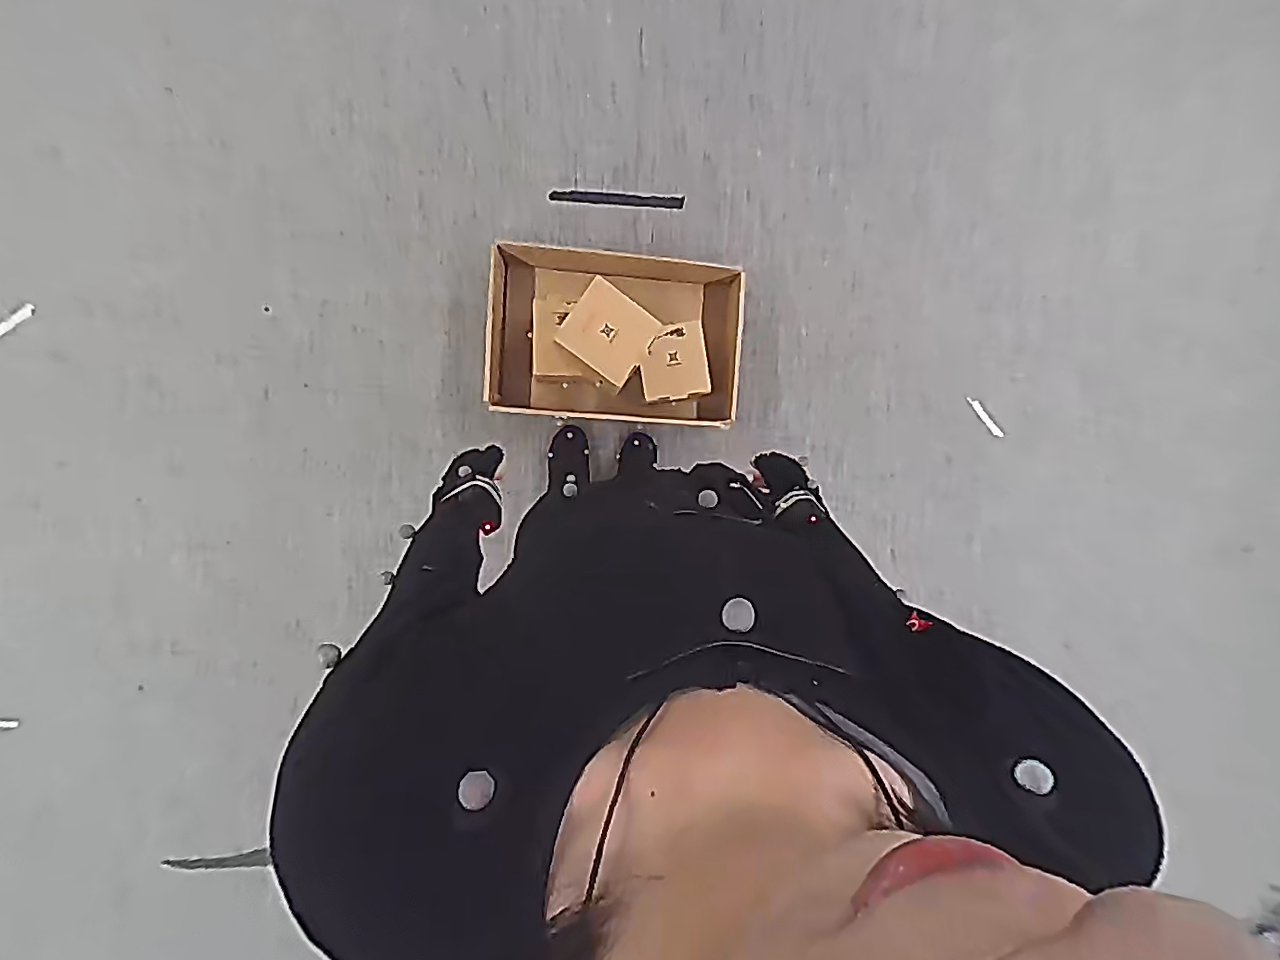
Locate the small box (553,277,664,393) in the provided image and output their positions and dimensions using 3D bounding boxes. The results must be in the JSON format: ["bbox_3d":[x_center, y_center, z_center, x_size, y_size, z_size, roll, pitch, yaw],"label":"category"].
[{"bbox_3d":[-0.073,-0.307,1.194,0.179,0.176,0.168,35,87,-7],"label":"small box"}]
